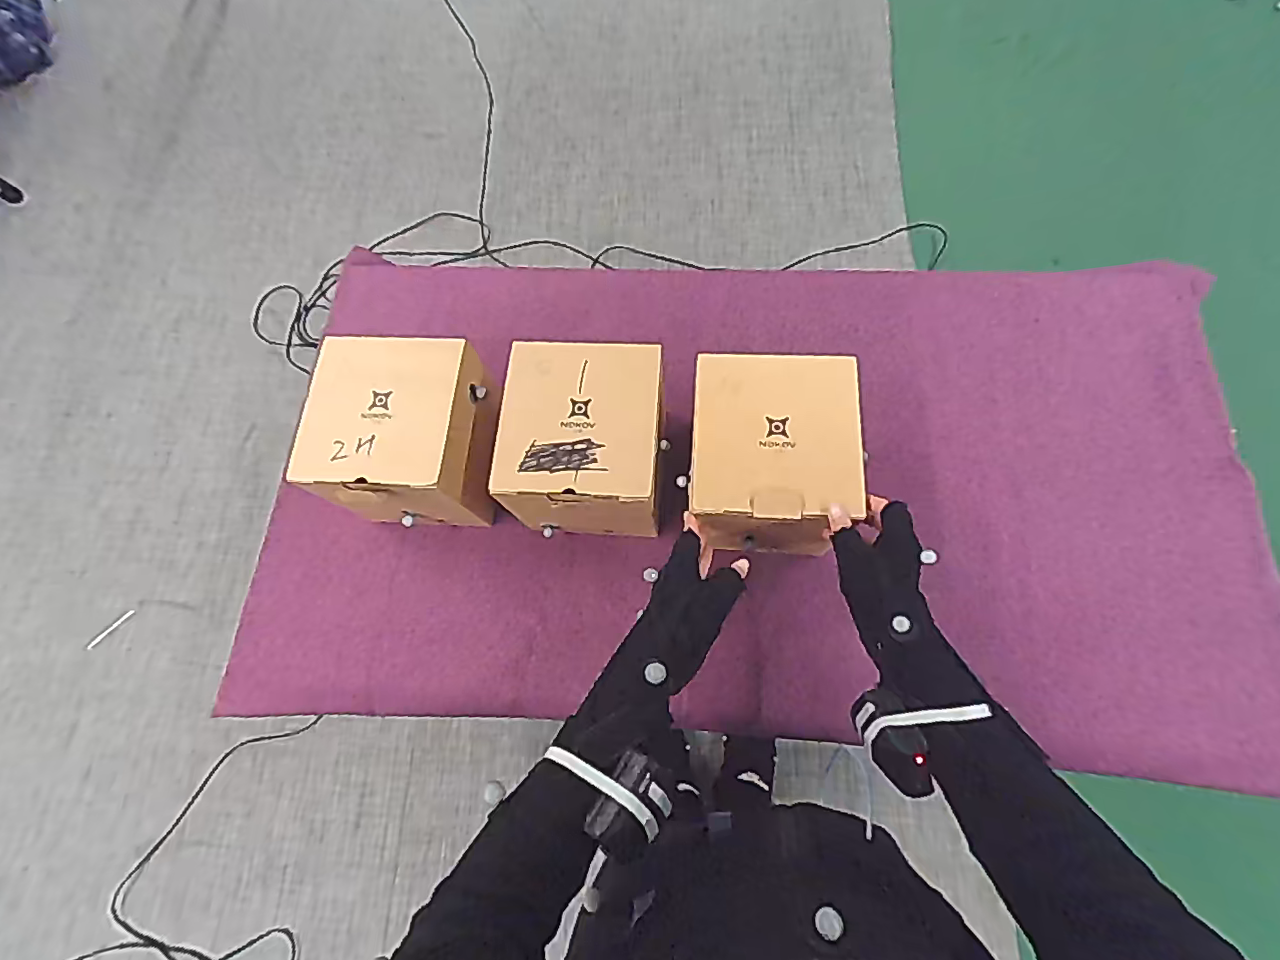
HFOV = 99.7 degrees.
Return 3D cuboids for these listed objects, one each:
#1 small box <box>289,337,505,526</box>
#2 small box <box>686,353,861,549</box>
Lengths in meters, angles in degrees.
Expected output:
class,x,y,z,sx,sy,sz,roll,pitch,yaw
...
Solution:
class,x,y,z,sx,sy,sz,roll,pitch,yaw
small box,-0.274,-0.052,0.657,0.168,0.176,0.179,2,72,6
small box,0.139,-0.026,0.619,0.168,0.176,0.179,2,73,5
